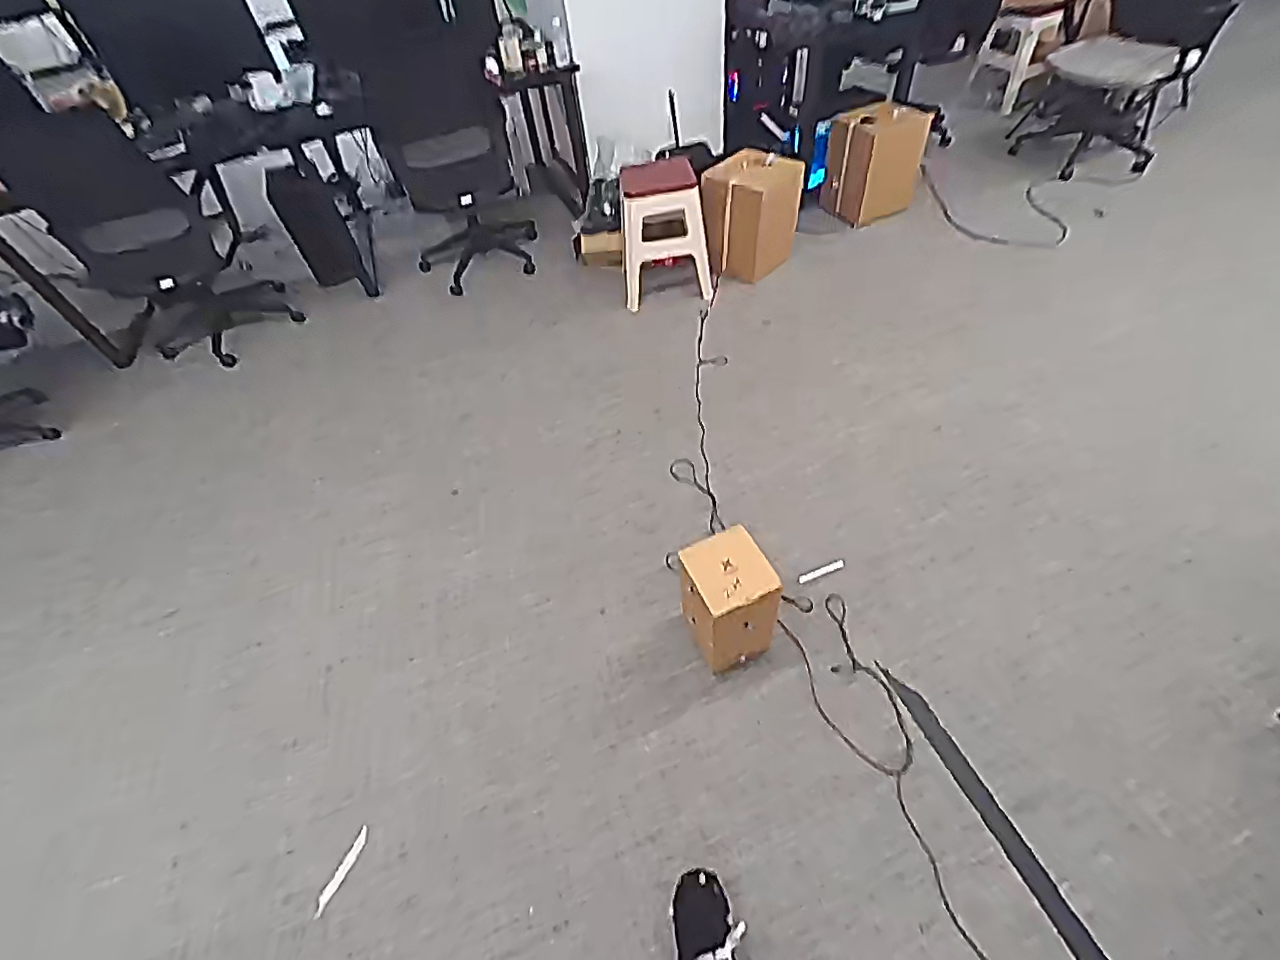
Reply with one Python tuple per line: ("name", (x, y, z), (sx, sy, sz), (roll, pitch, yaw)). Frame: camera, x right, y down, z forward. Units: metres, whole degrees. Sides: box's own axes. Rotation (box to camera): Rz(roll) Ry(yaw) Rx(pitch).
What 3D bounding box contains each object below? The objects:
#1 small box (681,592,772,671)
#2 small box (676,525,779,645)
("small box", (0.207, 0.343, 1.350), (0.168, 0.176, 0.179), (-20, 52, -9))
("small box", (0.192, 0.239, 1.223), (0.168, 0.176, 0.179), (-22, 52, -10))
